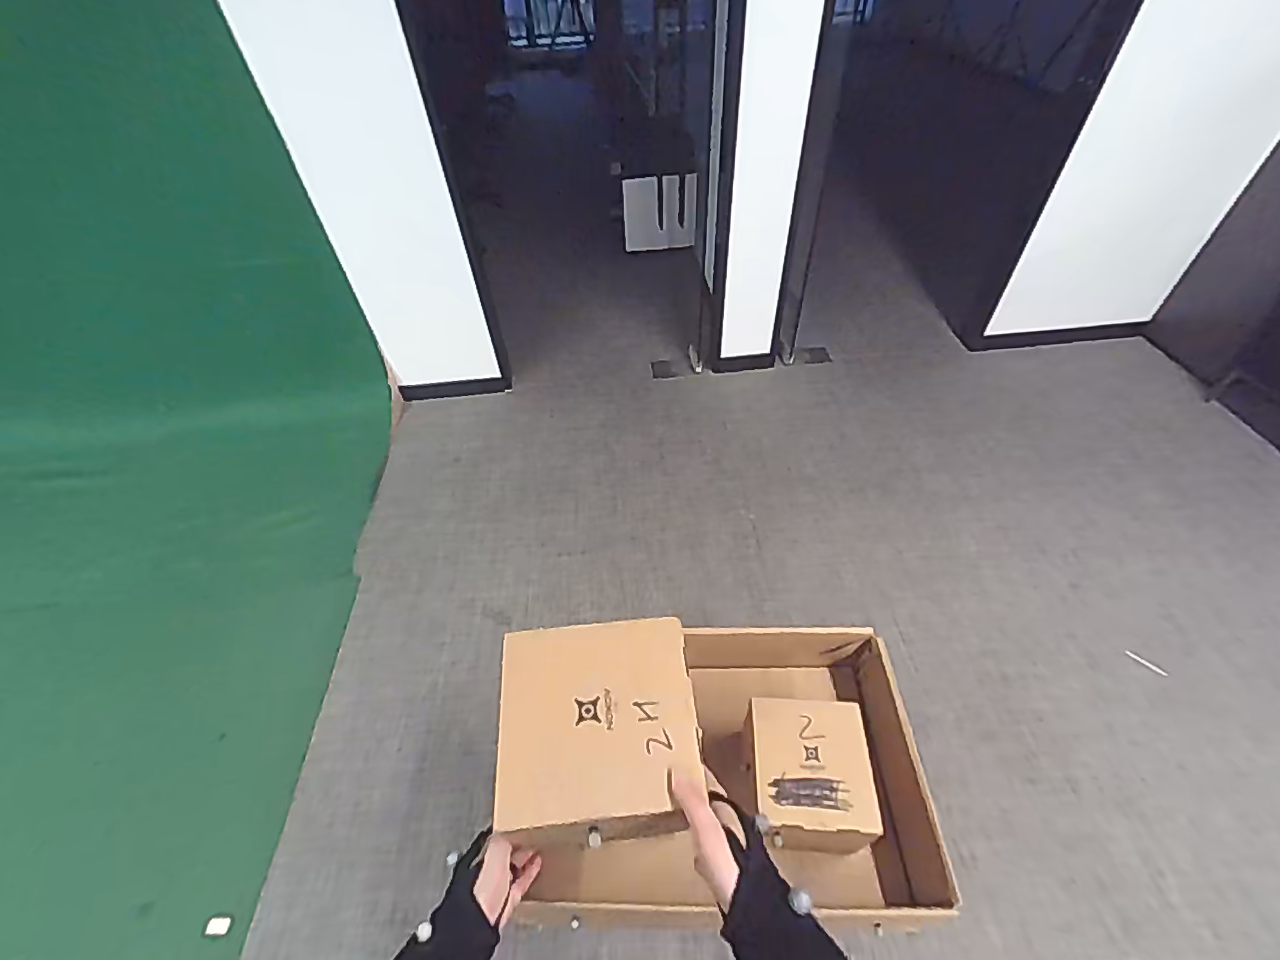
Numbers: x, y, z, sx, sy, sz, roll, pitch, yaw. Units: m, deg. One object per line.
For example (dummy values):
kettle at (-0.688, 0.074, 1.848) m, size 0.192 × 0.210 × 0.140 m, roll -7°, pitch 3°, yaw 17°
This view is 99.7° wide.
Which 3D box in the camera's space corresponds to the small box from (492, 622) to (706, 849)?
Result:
small box at (-0.039, 0.259, 0.542) m, size 0.179 × 0.176 × 0.168 m, roll -4°, pitch 52°, yaw -4°
